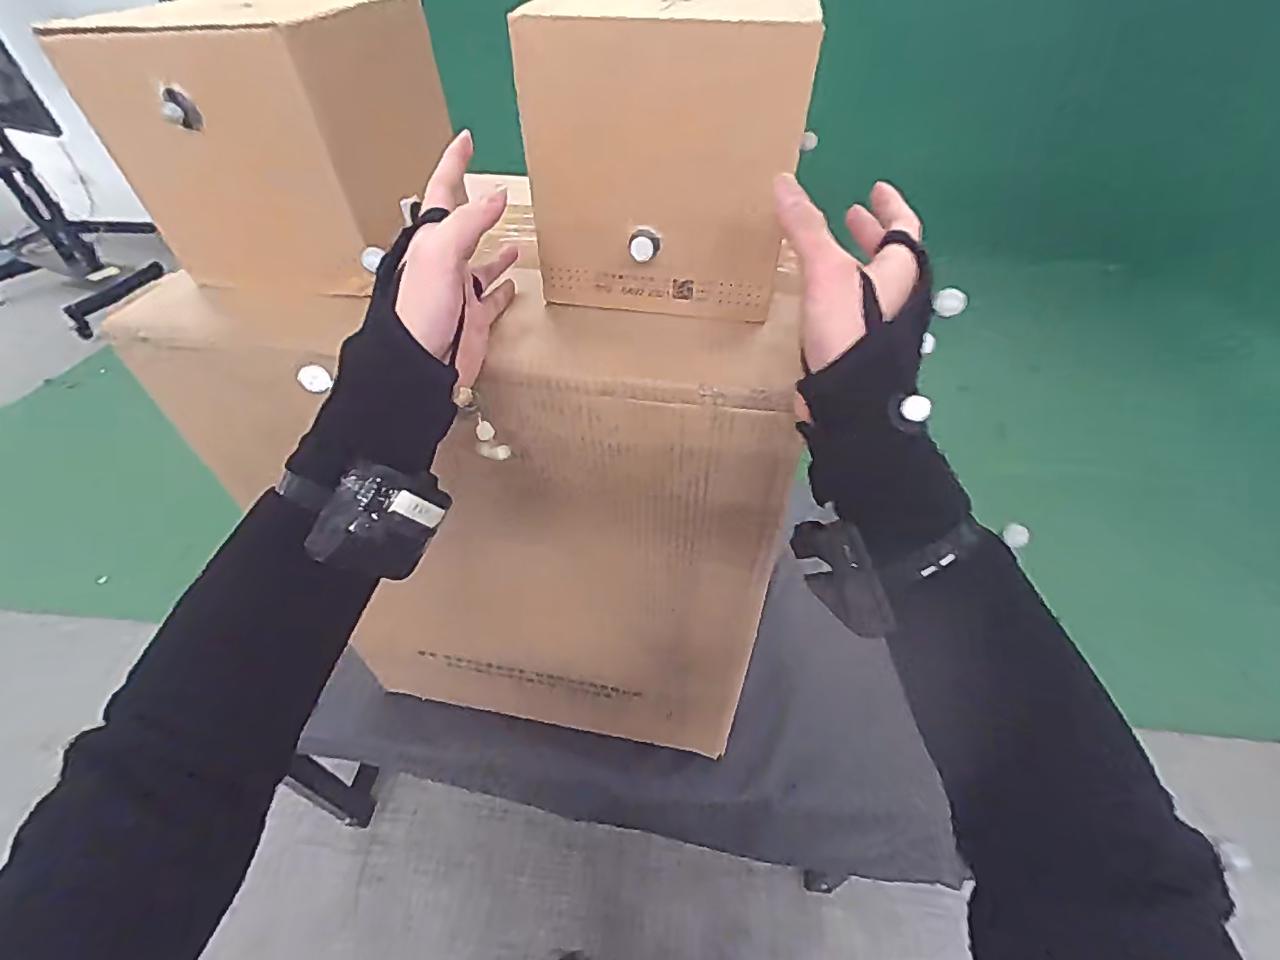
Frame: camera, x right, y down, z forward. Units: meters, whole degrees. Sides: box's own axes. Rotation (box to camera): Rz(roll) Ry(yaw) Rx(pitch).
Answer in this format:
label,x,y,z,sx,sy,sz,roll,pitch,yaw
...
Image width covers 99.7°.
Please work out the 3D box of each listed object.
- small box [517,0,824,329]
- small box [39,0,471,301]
label,x,y,z,sx,sy,sz,roll,pitch,yaw
small box,0.027,-0.235,0.392,0.168,0.176,0.179,8,49,7
small box,-0.259,-0.257,0.420,0.179,0.176,0.168,8,49,8
